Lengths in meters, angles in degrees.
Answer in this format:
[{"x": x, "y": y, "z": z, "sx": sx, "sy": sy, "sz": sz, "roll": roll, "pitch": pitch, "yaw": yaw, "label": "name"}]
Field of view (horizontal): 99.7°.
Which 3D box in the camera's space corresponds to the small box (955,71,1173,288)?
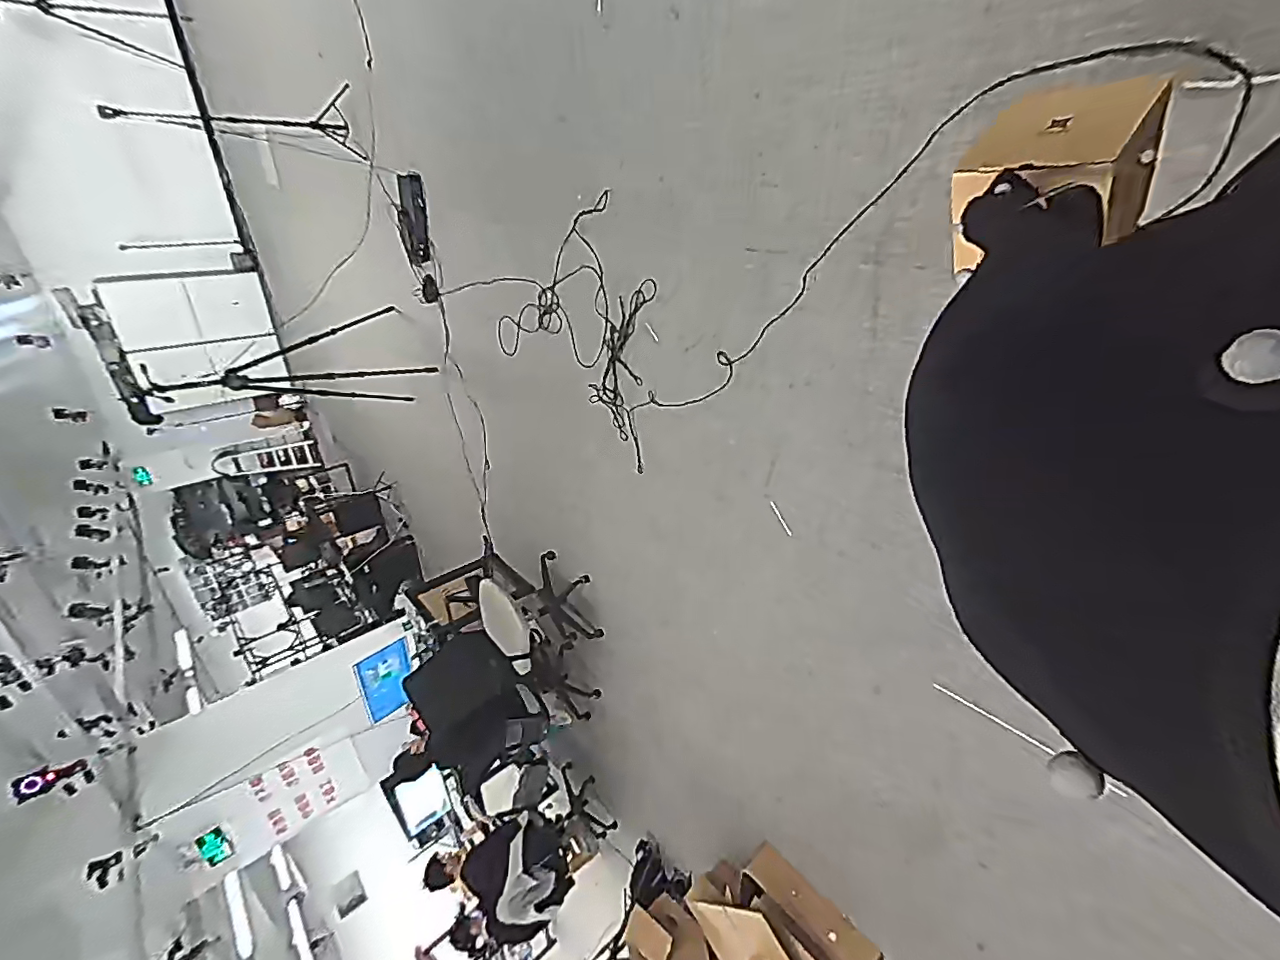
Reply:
[{"x": 0.536, "y": -0.380, "z": 0.703, "sx": 0.168, "sy": 0.179, "sz": 0.176, "roll": 26, "pitch": 161, "yaw": 44, "label": "small box"}]
